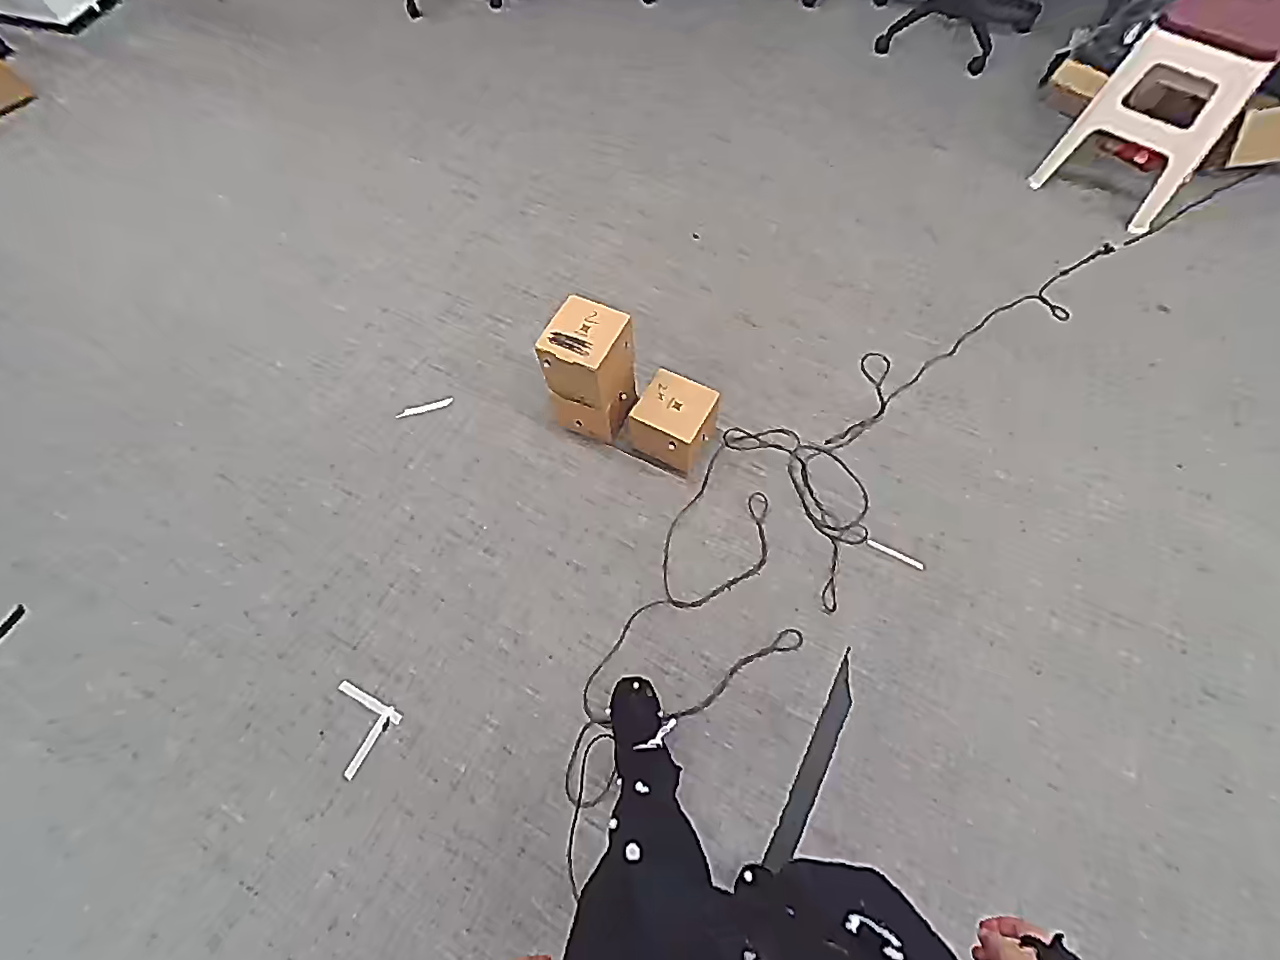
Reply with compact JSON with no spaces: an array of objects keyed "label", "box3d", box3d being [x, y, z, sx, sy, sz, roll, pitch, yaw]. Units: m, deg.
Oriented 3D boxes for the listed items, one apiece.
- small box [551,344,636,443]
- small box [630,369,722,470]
[{"label":"small box","box3d":[-0.117,-0.230,1.457,0.168,0.176,0.179,19,67,12]},{"label":"small box","box3d":[0.095,-0.148,1.401,0.179,0.176,0.168,27,68,16]}]
